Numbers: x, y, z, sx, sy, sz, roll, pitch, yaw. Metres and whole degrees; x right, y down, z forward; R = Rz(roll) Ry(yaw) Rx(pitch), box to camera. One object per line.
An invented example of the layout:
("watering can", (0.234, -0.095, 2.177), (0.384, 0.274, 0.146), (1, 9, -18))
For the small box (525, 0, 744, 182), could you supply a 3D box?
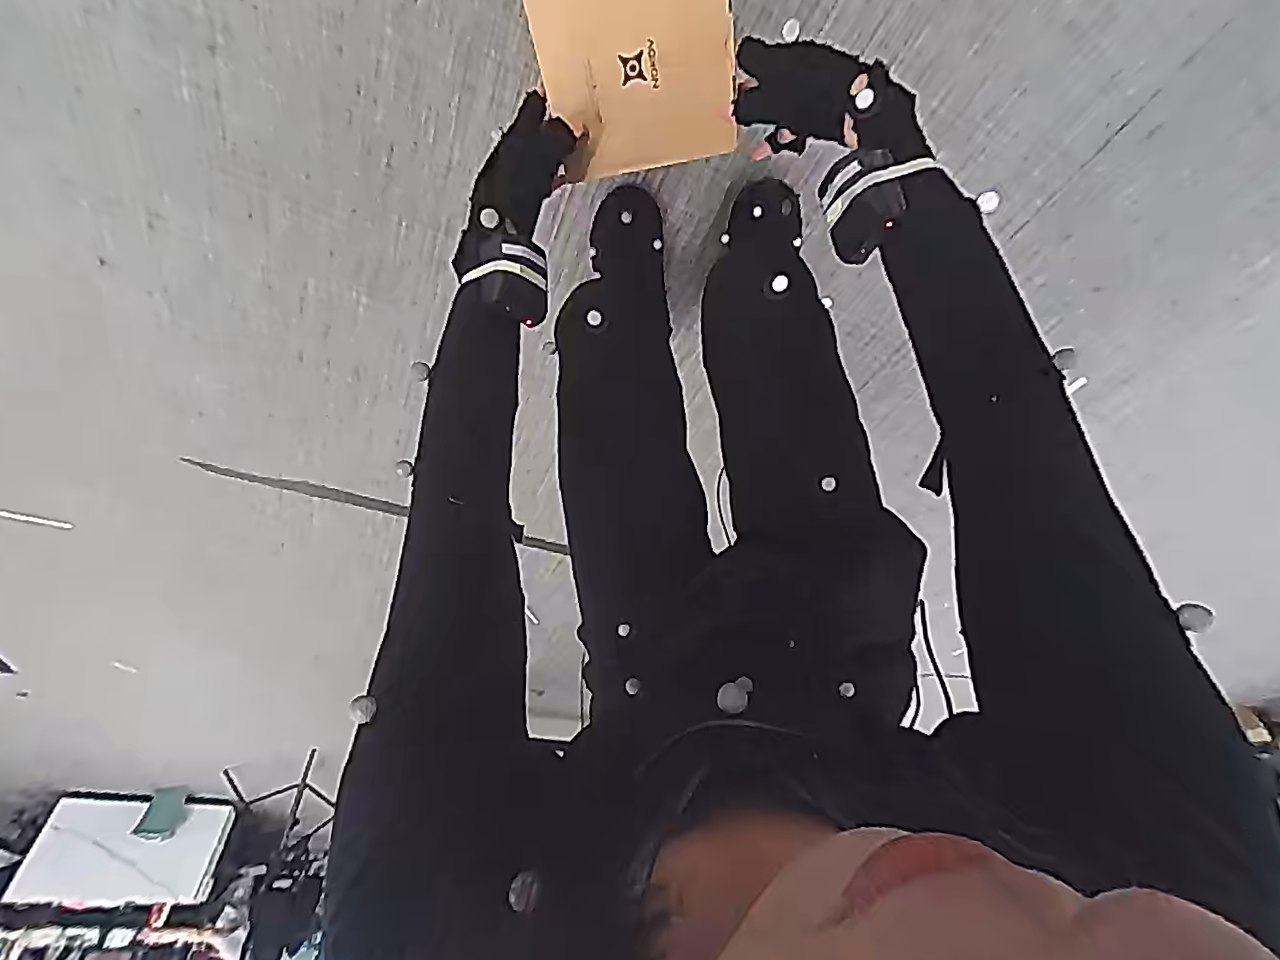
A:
("small box", (0.001, -0.417, 0.532), (0.179, 0.176, 0.168), (-7, 130, 8))
